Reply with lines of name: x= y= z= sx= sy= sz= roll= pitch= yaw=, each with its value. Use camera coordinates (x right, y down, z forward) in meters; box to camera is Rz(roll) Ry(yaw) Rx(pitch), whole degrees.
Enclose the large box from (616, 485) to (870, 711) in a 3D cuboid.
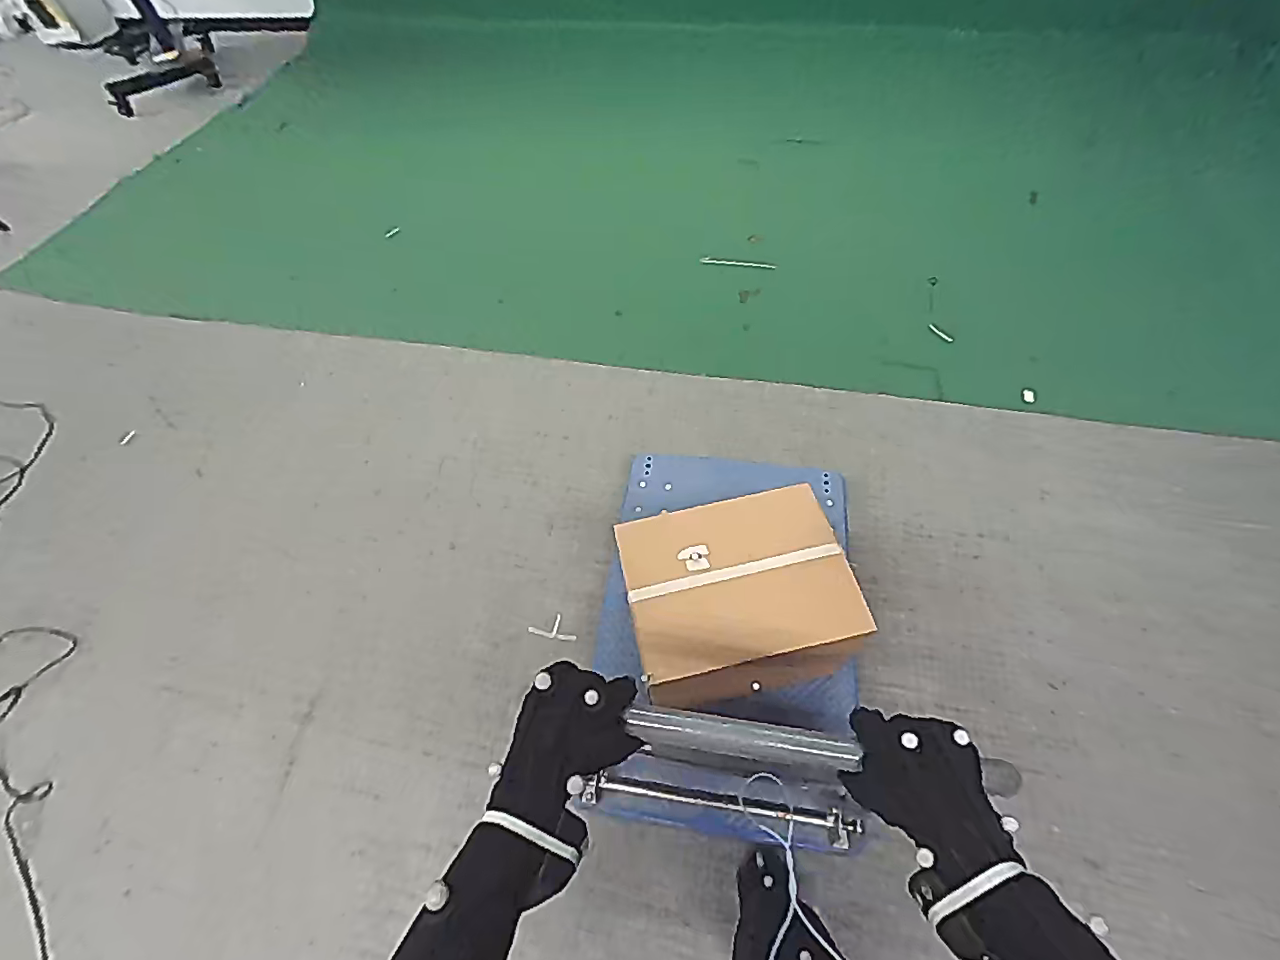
large box: x=0.189 y=0.256 z=1.132 sx=0.408 sy=0.320 sz=0.320 roll=-13 pitch=57 yaw=-3
